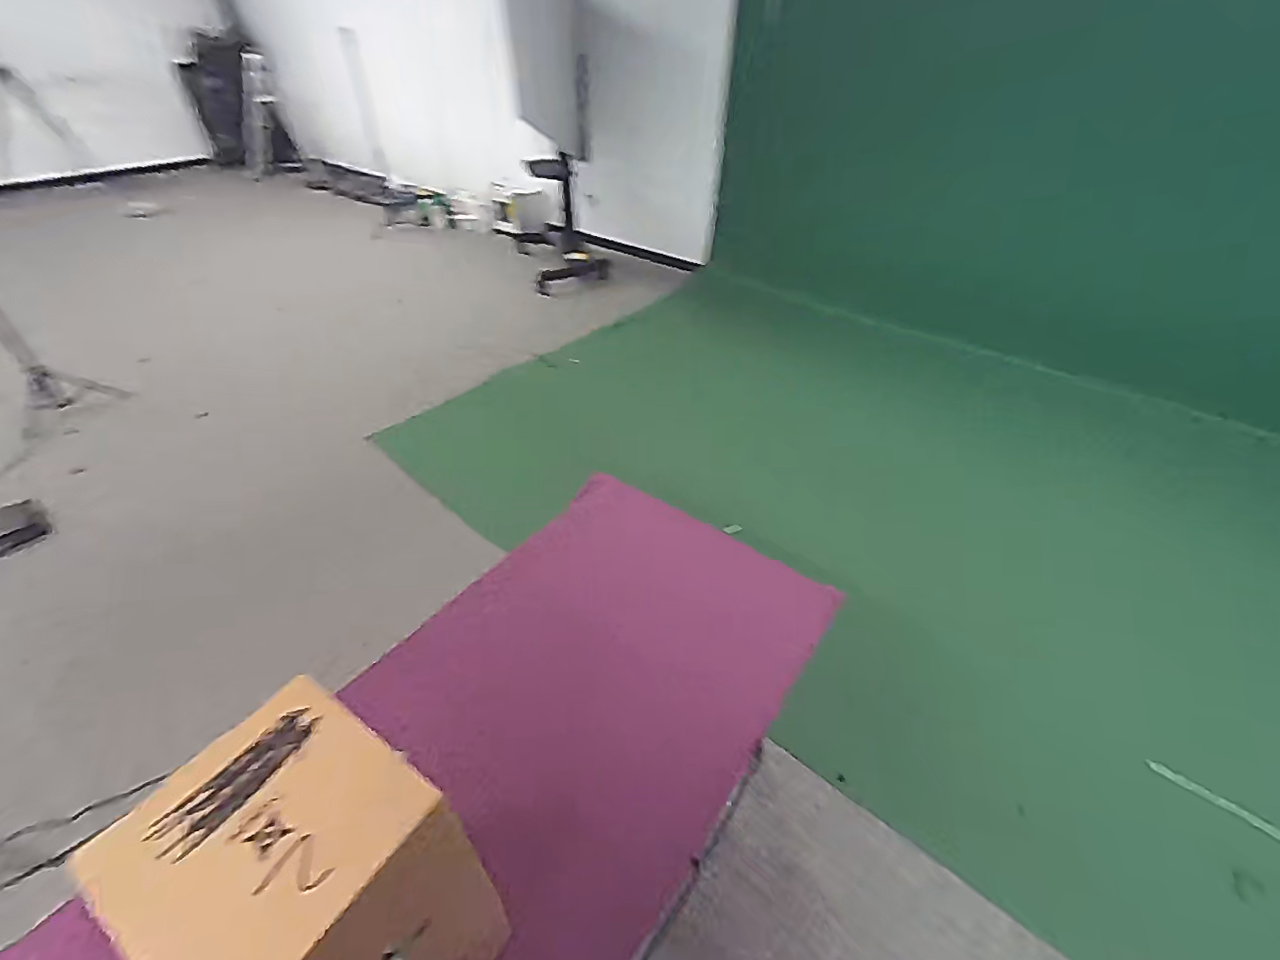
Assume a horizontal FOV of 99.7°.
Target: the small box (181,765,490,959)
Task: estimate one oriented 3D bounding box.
[{"bbox_3d":[-0.267,0.423,0.516,0.179,0.176,0.168,24,44,24],"label":"small box"}]
